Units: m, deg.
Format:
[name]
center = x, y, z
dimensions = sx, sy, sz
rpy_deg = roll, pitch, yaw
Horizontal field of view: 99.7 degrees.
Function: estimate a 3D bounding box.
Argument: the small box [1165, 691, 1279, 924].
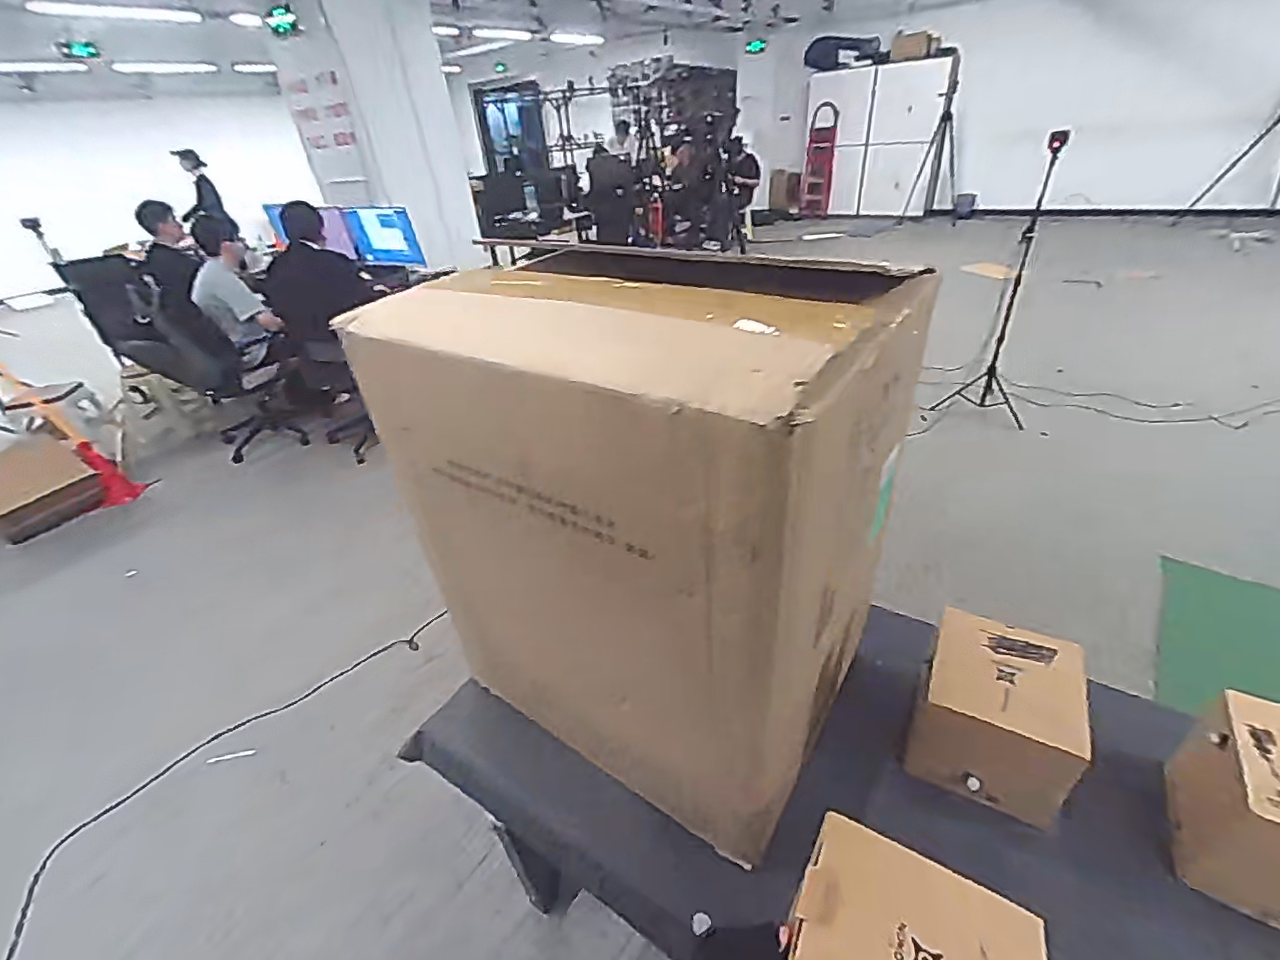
[small box]
center = 0.737, 0.380, 0.598
dimensions = 0.179, 0.176, 0.168
rpy_deg = 17, 40, 31
